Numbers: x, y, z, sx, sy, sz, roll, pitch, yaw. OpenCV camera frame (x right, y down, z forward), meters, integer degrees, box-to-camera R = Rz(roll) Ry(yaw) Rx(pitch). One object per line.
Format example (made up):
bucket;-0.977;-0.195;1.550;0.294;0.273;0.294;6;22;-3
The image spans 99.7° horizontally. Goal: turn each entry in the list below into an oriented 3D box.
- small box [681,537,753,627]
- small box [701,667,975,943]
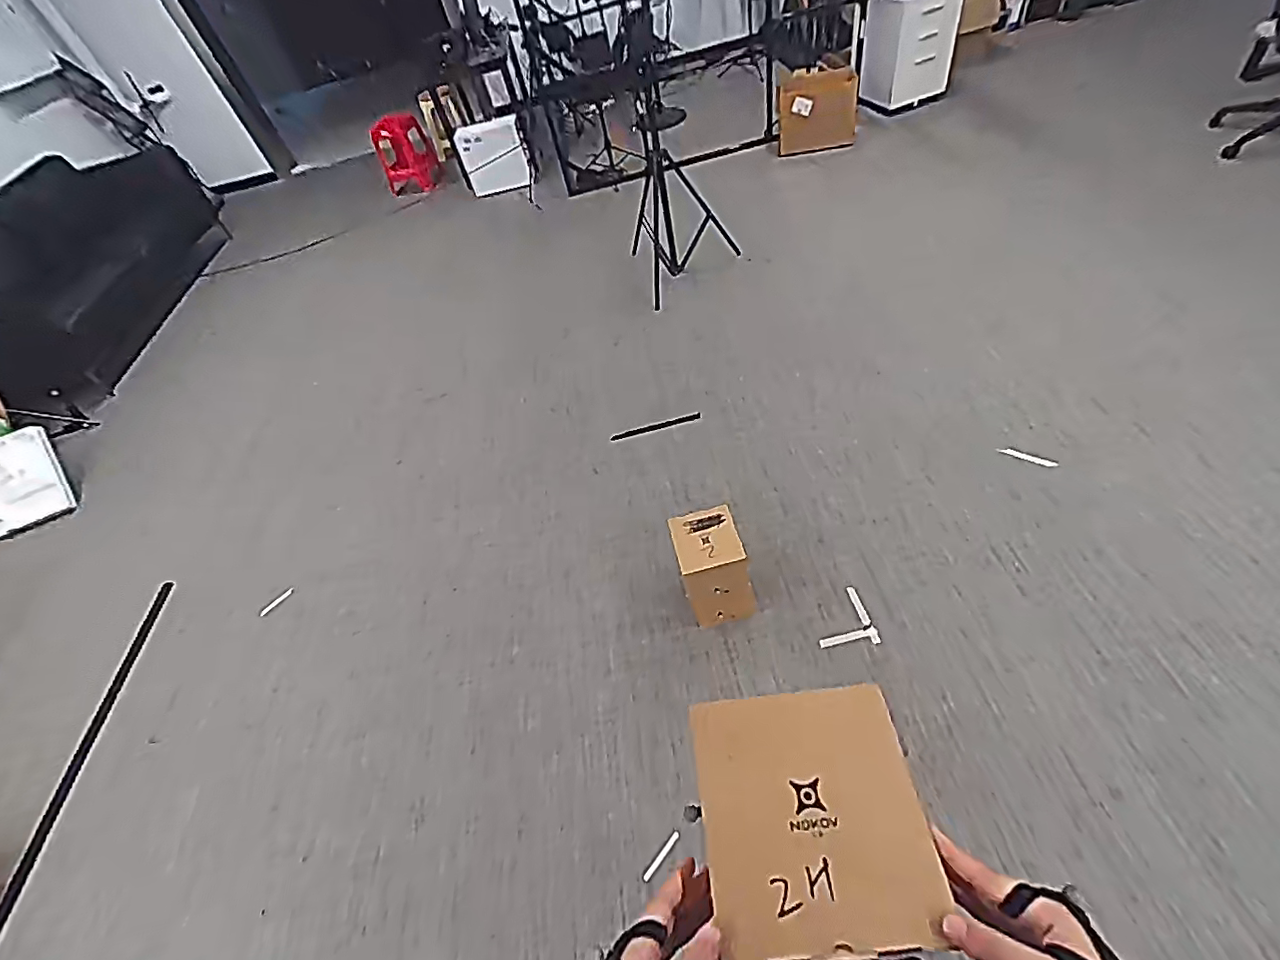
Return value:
small box;0.223;0.297;1.569;0.168;0.176;0.179;-15;49;2
small box;0.146;0.288;0.476;0.168;0.176;0.179;-8;50;3
